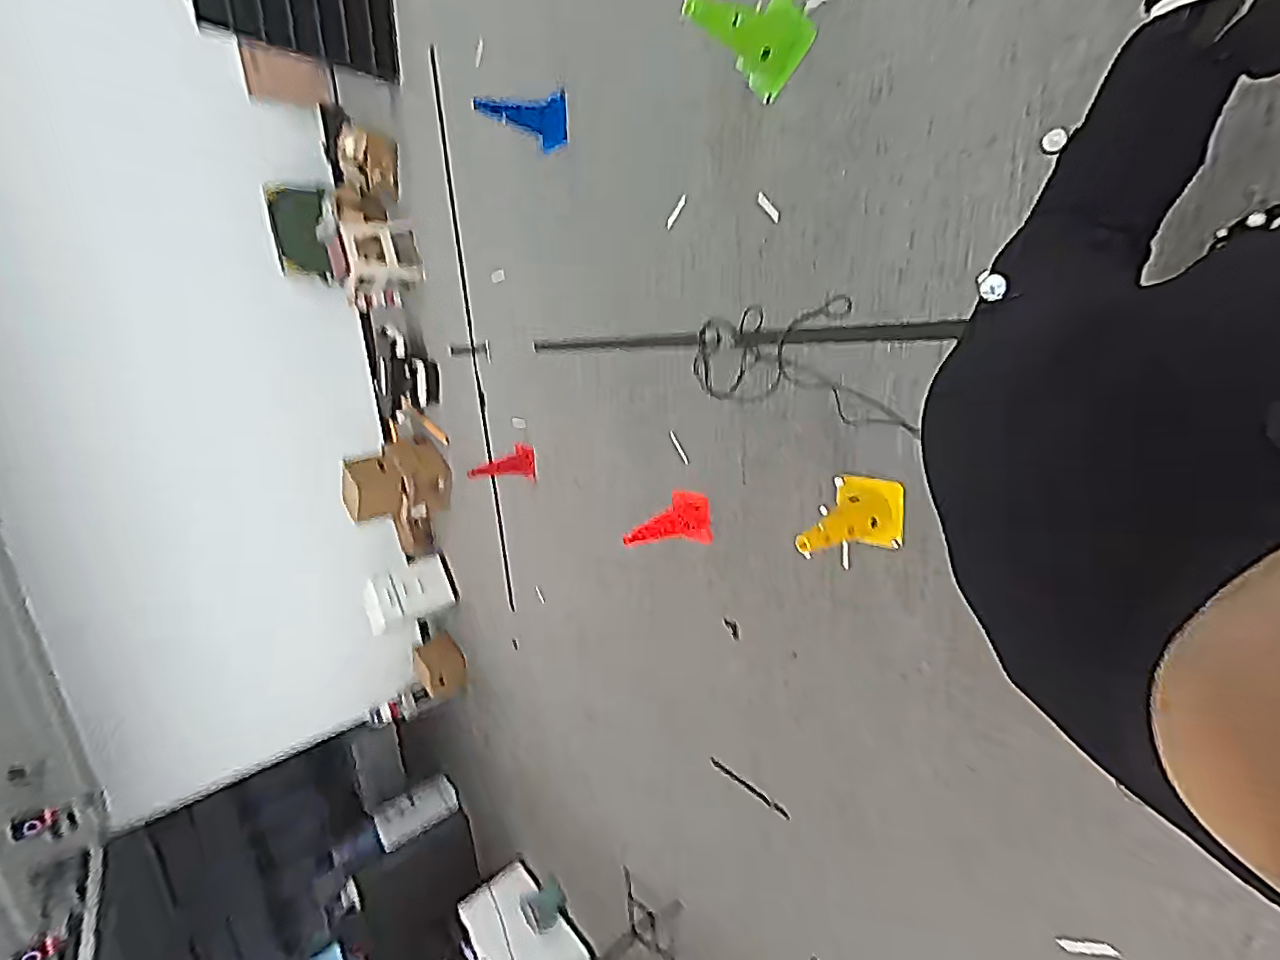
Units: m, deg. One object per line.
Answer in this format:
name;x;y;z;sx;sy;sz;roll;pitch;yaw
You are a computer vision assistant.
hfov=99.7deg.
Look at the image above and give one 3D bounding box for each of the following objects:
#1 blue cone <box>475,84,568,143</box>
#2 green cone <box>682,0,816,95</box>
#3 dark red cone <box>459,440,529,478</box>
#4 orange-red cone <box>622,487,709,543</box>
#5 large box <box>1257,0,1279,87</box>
blue cone;-0.487;-1.524;2.200;0.193;0.380;0.192;17;114;46
green cone;0.252;-1.200;1.406;0.200;0.368;0.202;-43;67;47
dark red cone;-0.808;-0.092;2.998;0.202;0.394;0.201;21;116;45
orange-red cone;0.075;0.171;2.080;0.199;0.360;0.198;9;110;47
large box;0.636;-0.402;0.239;0.408;0.320;0.320;29;128;40
